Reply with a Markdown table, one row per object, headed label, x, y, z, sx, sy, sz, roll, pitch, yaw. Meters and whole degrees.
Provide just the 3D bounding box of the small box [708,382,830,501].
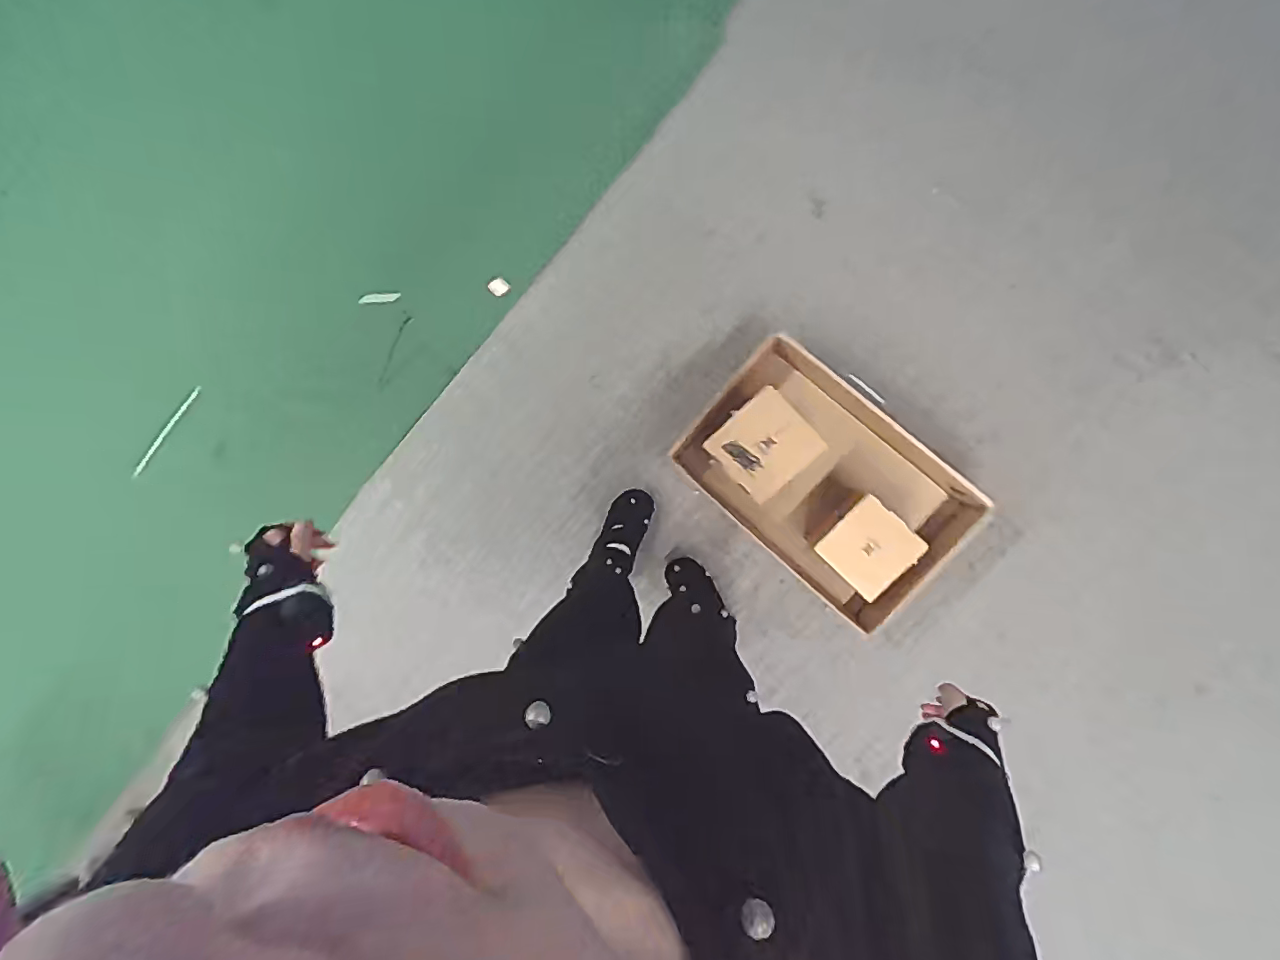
| label | x | y | z | sx | sy | sz | roll | pitch | yaw |
| --- | --- | --- | --- | --- | --- | --- | --- | --- | --- |
| small box | 0.262 | -0.074 | 1.125 | 0.179 | 0.176 | 0.168 | -41 | 84 | 7 |
